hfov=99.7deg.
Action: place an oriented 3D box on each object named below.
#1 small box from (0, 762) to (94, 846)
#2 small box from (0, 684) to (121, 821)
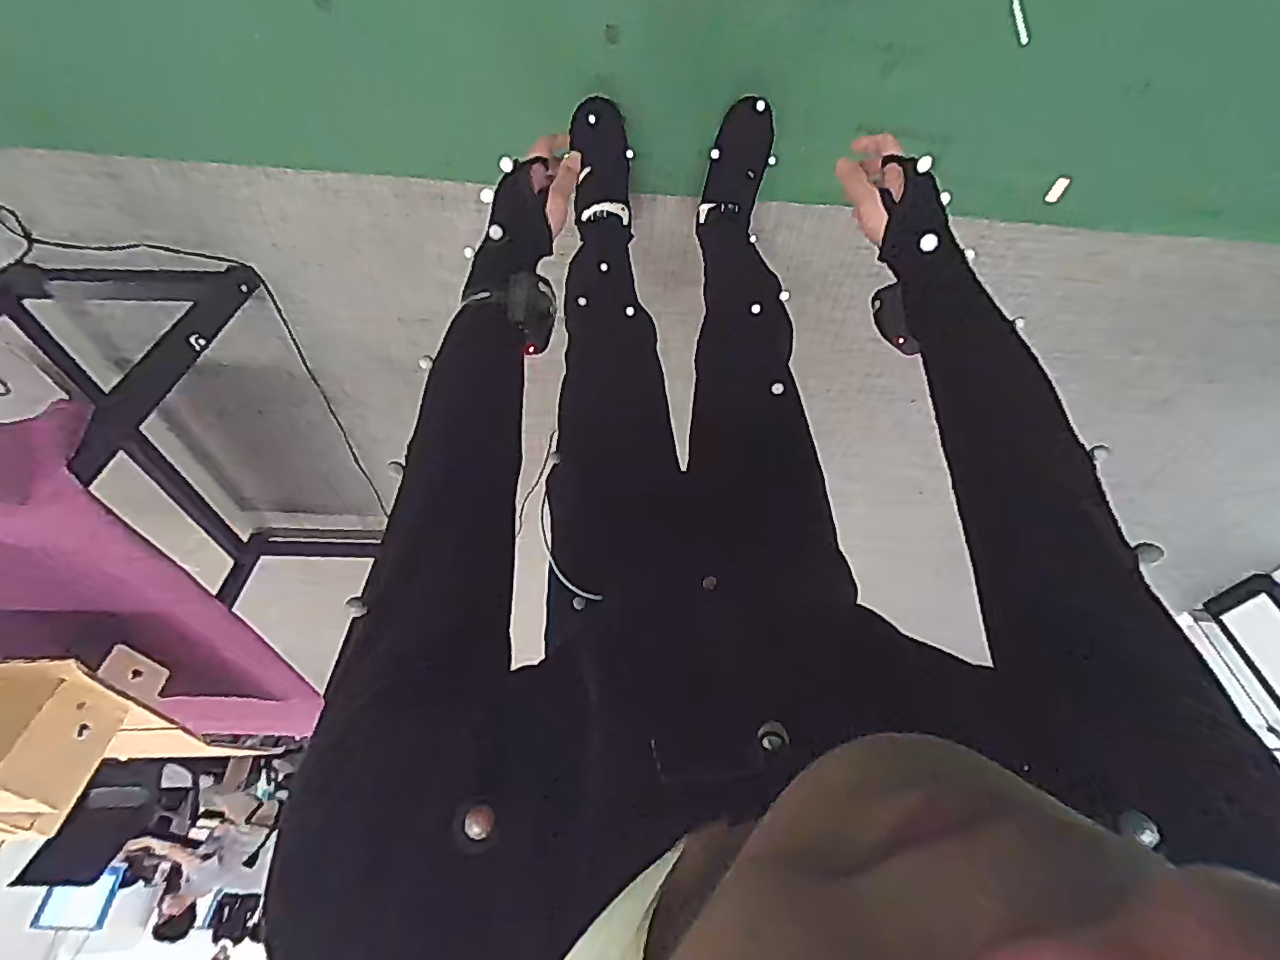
[{"bbox_3d":[-1.244,0.601,1.059,0.179,0.176,0.168,1,136,0],"label":"small box"},{"bbox_3d":[-1.057,0.455,0.909,0.179,0.176,0.168,0,136,-1],"label":"small box"}]
